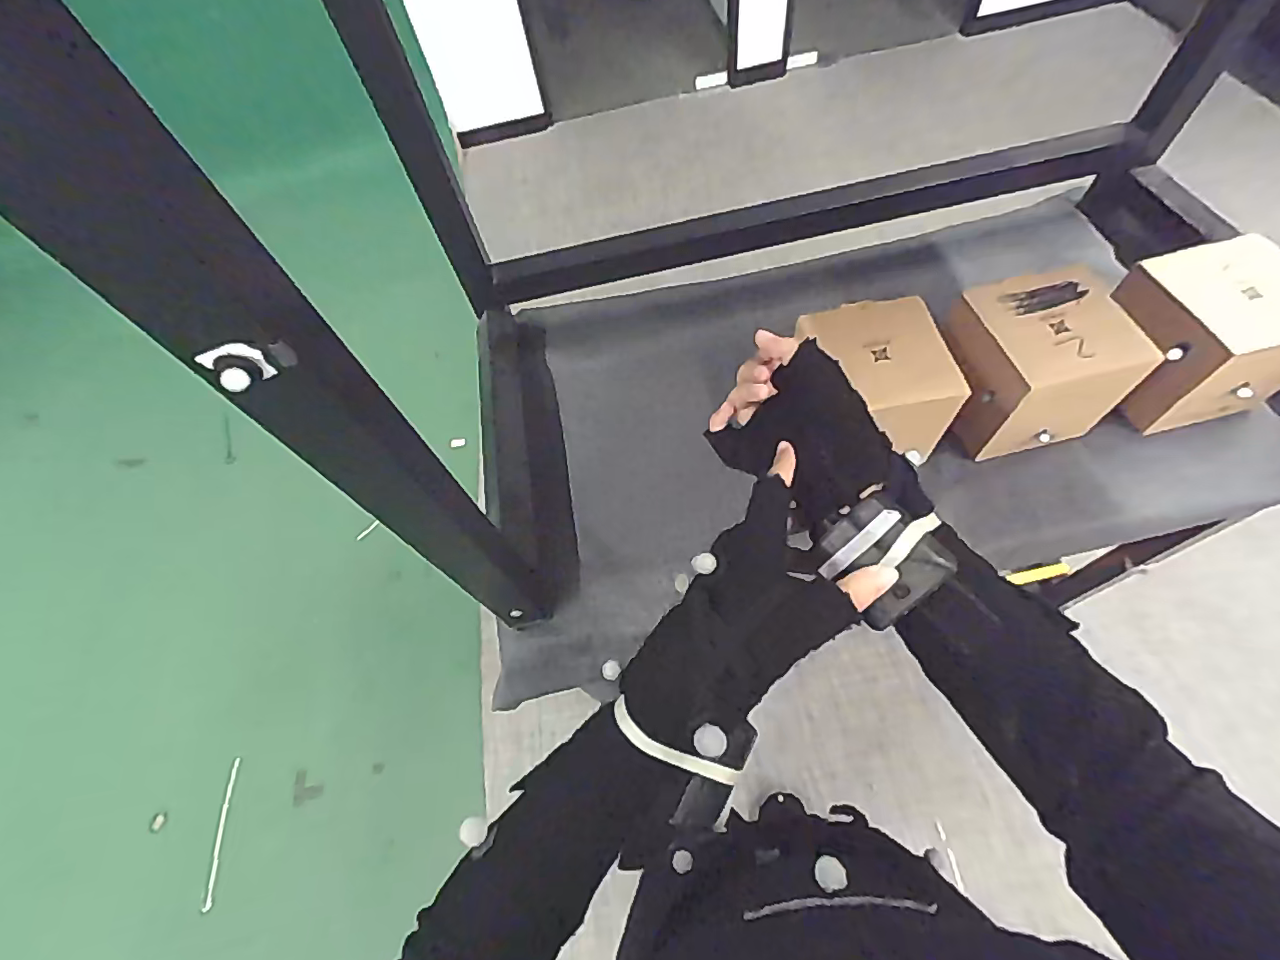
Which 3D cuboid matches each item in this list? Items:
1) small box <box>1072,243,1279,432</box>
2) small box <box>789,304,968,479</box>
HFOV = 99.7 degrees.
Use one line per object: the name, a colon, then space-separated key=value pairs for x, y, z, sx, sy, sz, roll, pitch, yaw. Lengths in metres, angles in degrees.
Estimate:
small box: x=0.761 y=-0.183 z=0.741 sx=0.168 sy=0.176 sz=0.179 roll=-14 pitch=59 yaw=-1
small box: x=0.318 y=-0.114 z=0.765 sx=0.168 sy=0.176 sz=0.179 roll=-9 pitch=59 yaw=2
